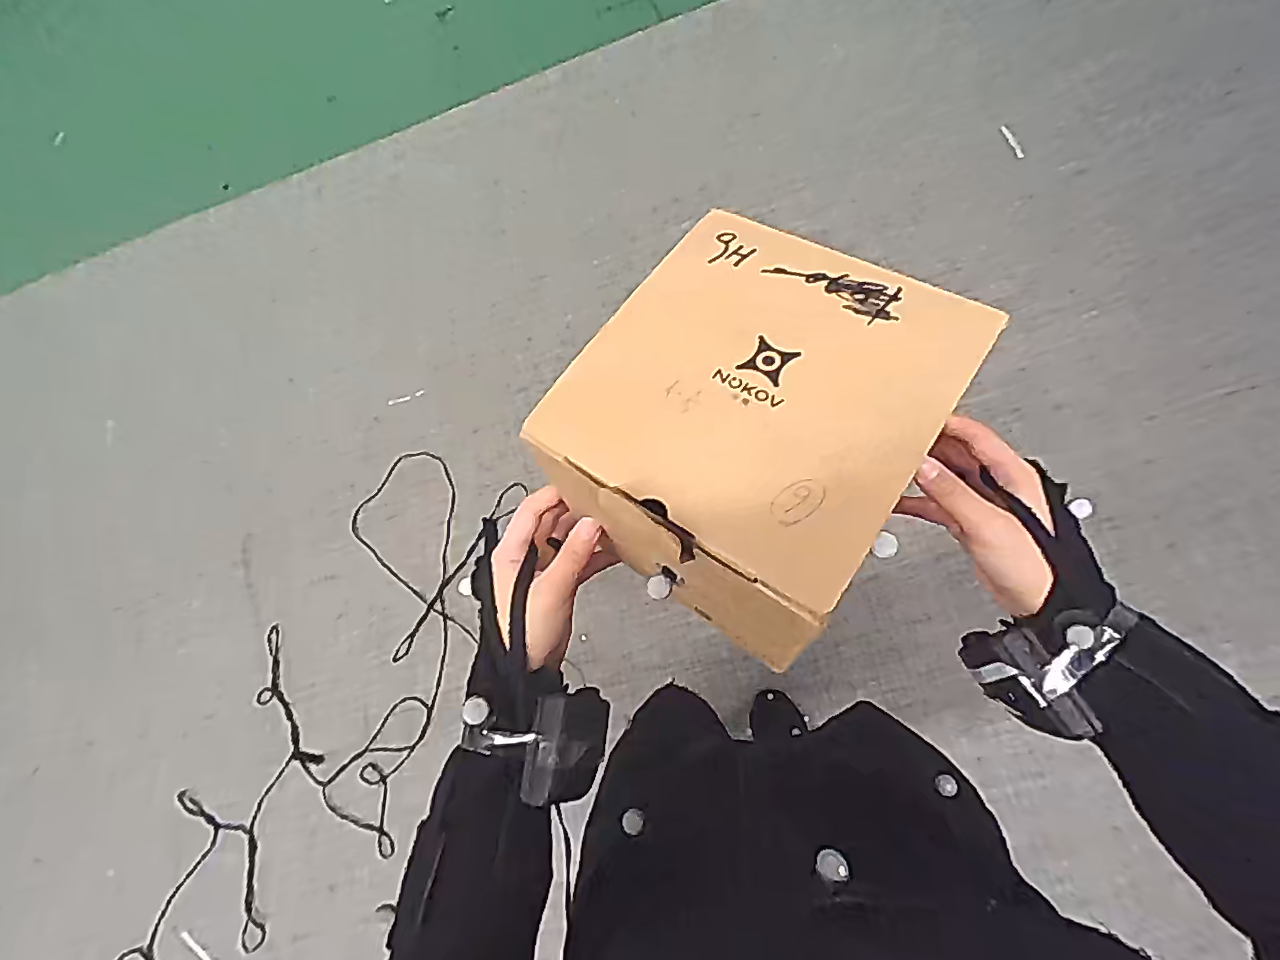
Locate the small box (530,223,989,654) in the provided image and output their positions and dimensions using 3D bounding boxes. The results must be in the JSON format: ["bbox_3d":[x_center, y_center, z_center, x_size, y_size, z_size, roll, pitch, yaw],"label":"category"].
[{"bbox_3d":[0.069,-0.014,0.339,0.168,0.176,0.179,32,74,21],"label":"small box"}]
